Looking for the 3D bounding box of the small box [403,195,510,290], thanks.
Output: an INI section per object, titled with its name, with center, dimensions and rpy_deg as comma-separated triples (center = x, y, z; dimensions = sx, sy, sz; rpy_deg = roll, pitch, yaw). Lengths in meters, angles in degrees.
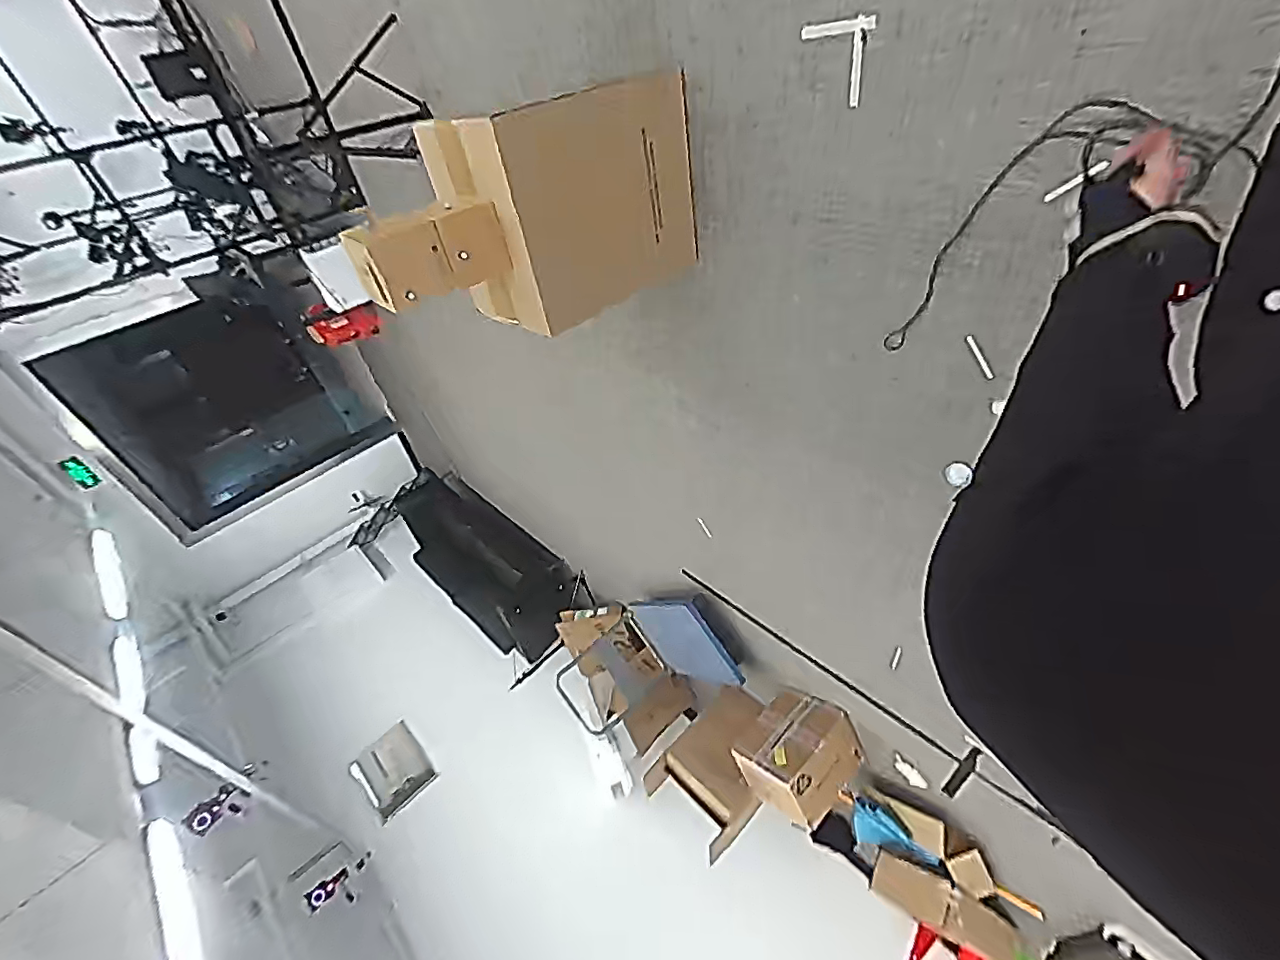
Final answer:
[small box]
center = -0.466, -0.617, 1.393
dimensions = 0.168, 0.176, 0.179
rpy_deg = 29, 145, 38
